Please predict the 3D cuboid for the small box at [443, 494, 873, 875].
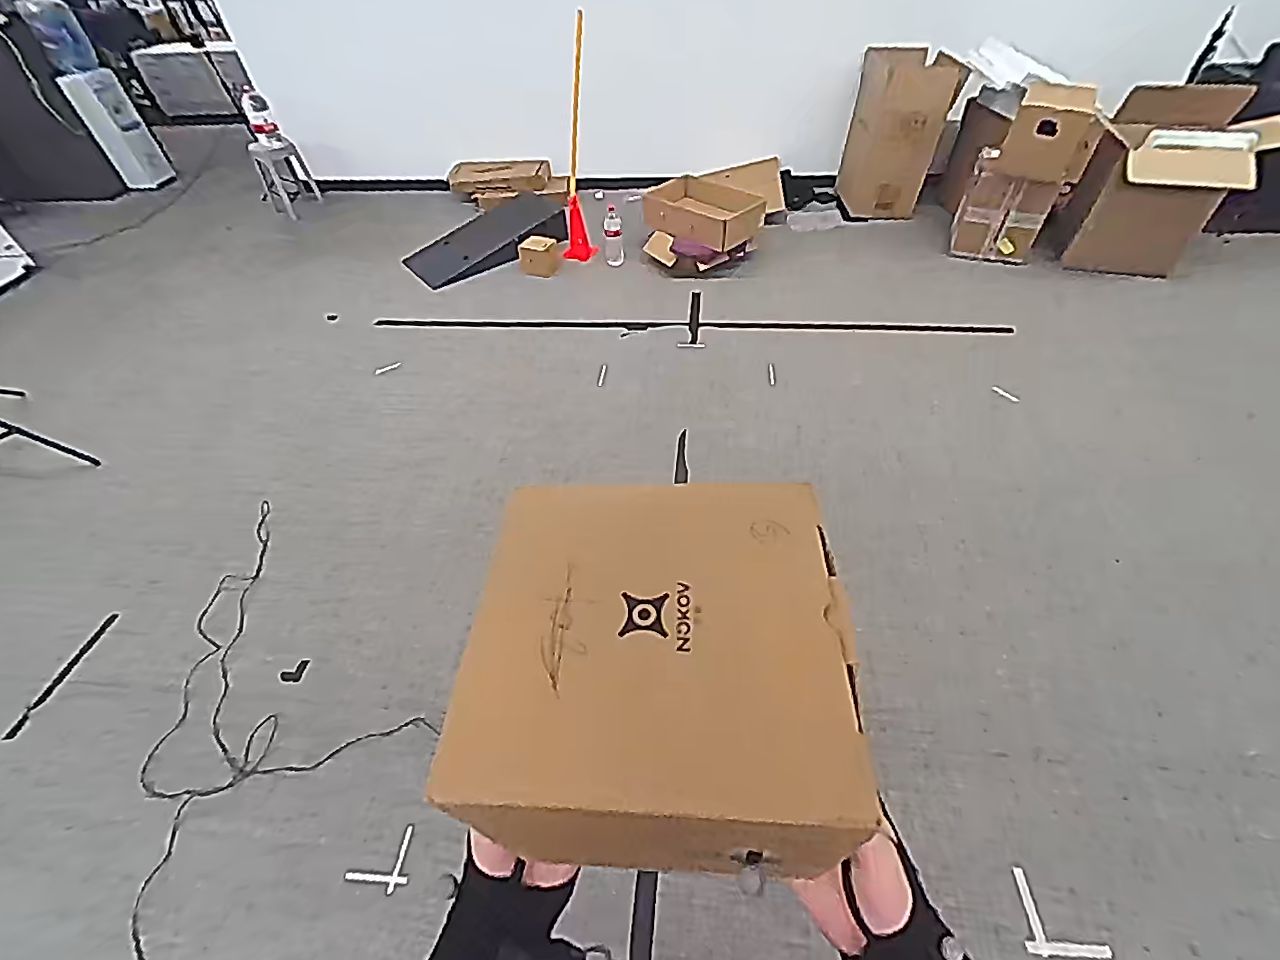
[{"bbox_3d":[0.015,0.125,0.326,0.179,0.176,0.168,-2,48,6],"label":"small box"}]
